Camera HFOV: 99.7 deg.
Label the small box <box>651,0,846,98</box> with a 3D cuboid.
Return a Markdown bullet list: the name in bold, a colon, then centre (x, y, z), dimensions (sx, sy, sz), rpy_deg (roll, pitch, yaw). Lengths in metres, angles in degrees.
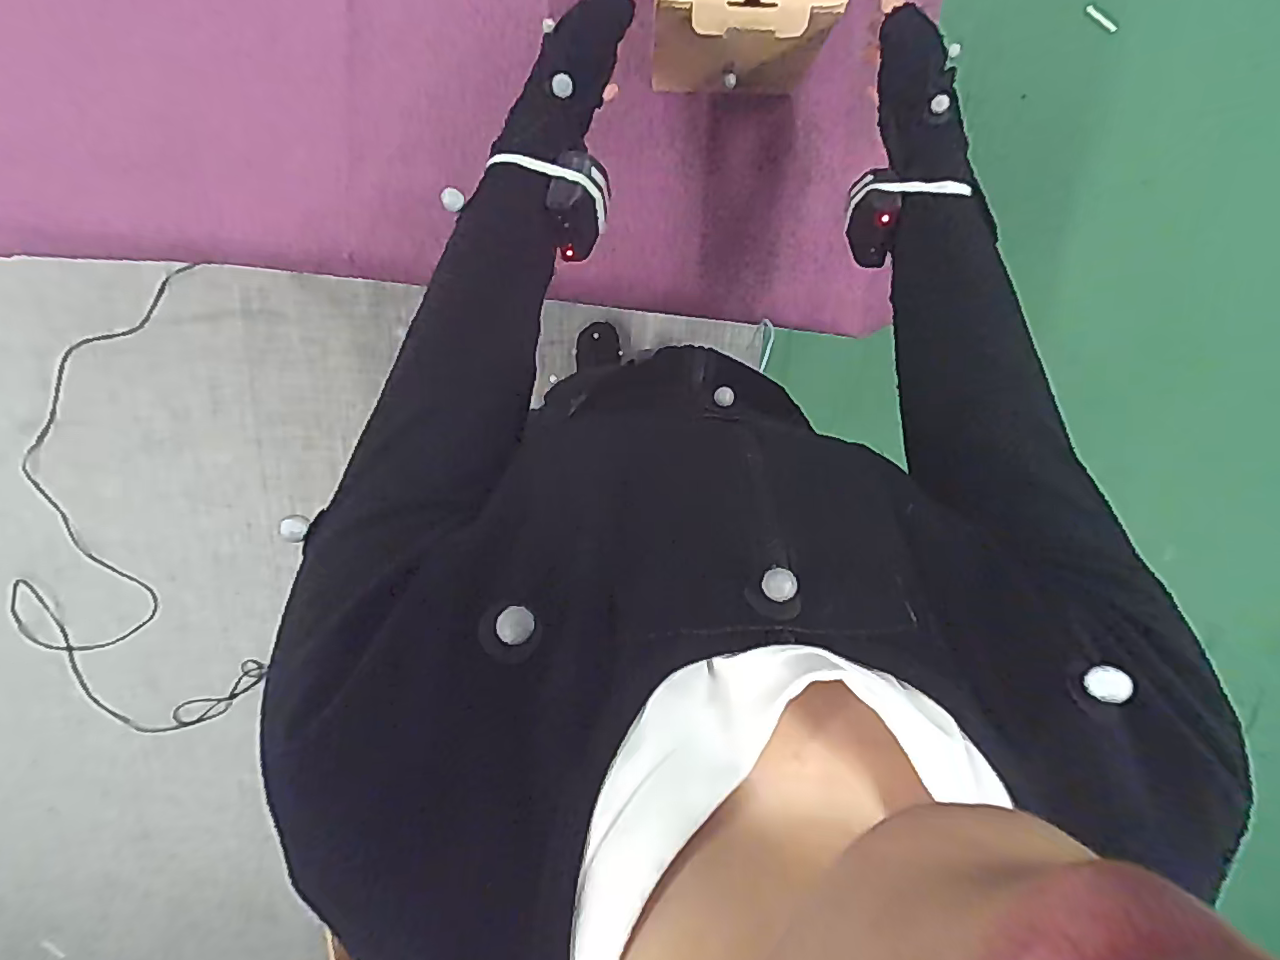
- **small box**: centre (0.098, -0.507, 0.520), dimensions (0.168, 0.176, 0.179), rpy_deg (2, 105, -1)
